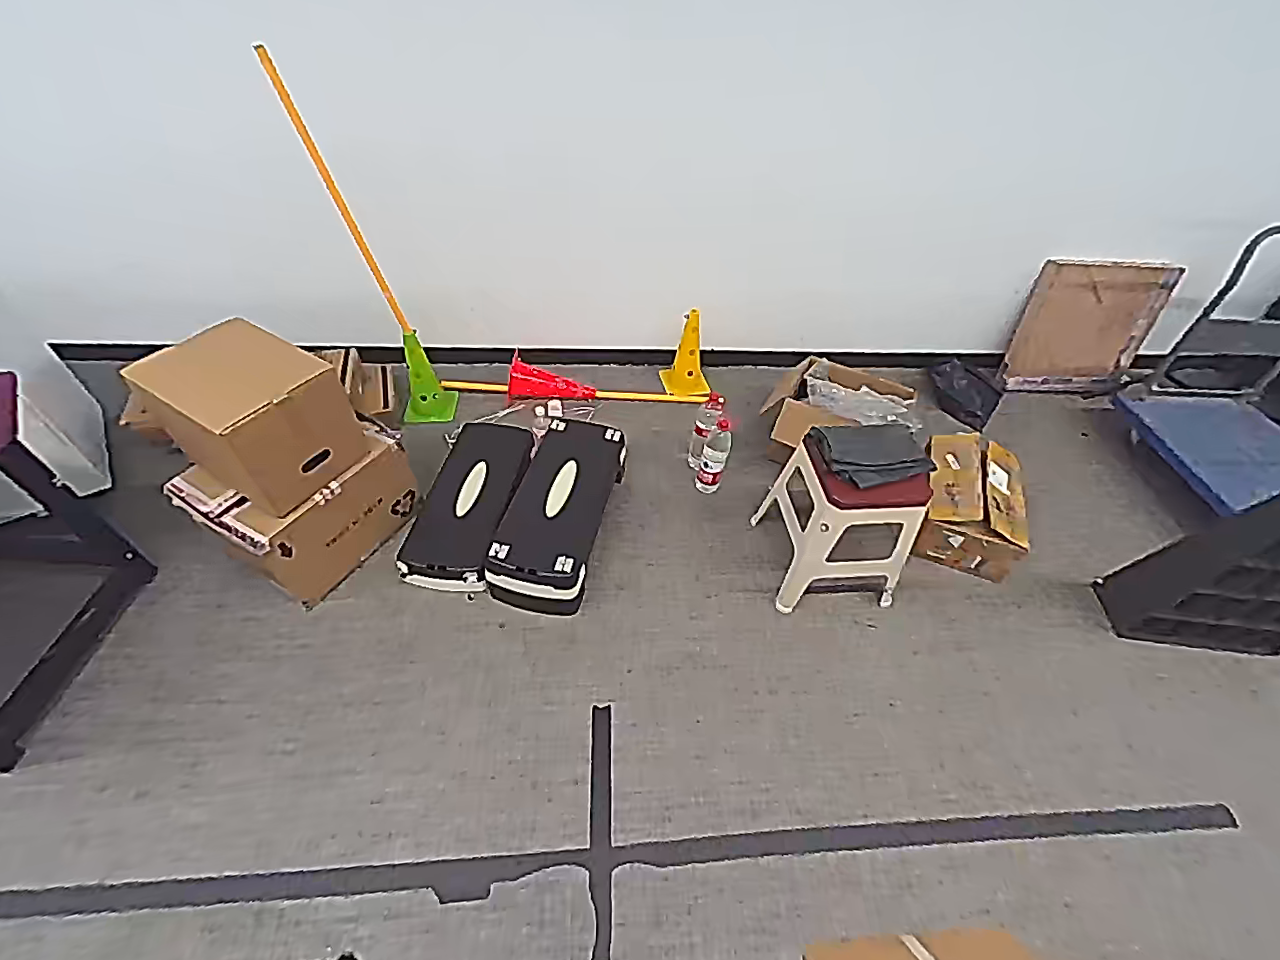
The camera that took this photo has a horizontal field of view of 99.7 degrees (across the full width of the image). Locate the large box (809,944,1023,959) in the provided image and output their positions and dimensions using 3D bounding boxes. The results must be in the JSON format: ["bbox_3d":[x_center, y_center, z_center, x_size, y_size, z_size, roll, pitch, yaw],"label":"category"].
[{"bbox_3d":[0.408,0.795,0.569,0.320,0.408,0.320,-1,79,-4],"label":"large box"}]
